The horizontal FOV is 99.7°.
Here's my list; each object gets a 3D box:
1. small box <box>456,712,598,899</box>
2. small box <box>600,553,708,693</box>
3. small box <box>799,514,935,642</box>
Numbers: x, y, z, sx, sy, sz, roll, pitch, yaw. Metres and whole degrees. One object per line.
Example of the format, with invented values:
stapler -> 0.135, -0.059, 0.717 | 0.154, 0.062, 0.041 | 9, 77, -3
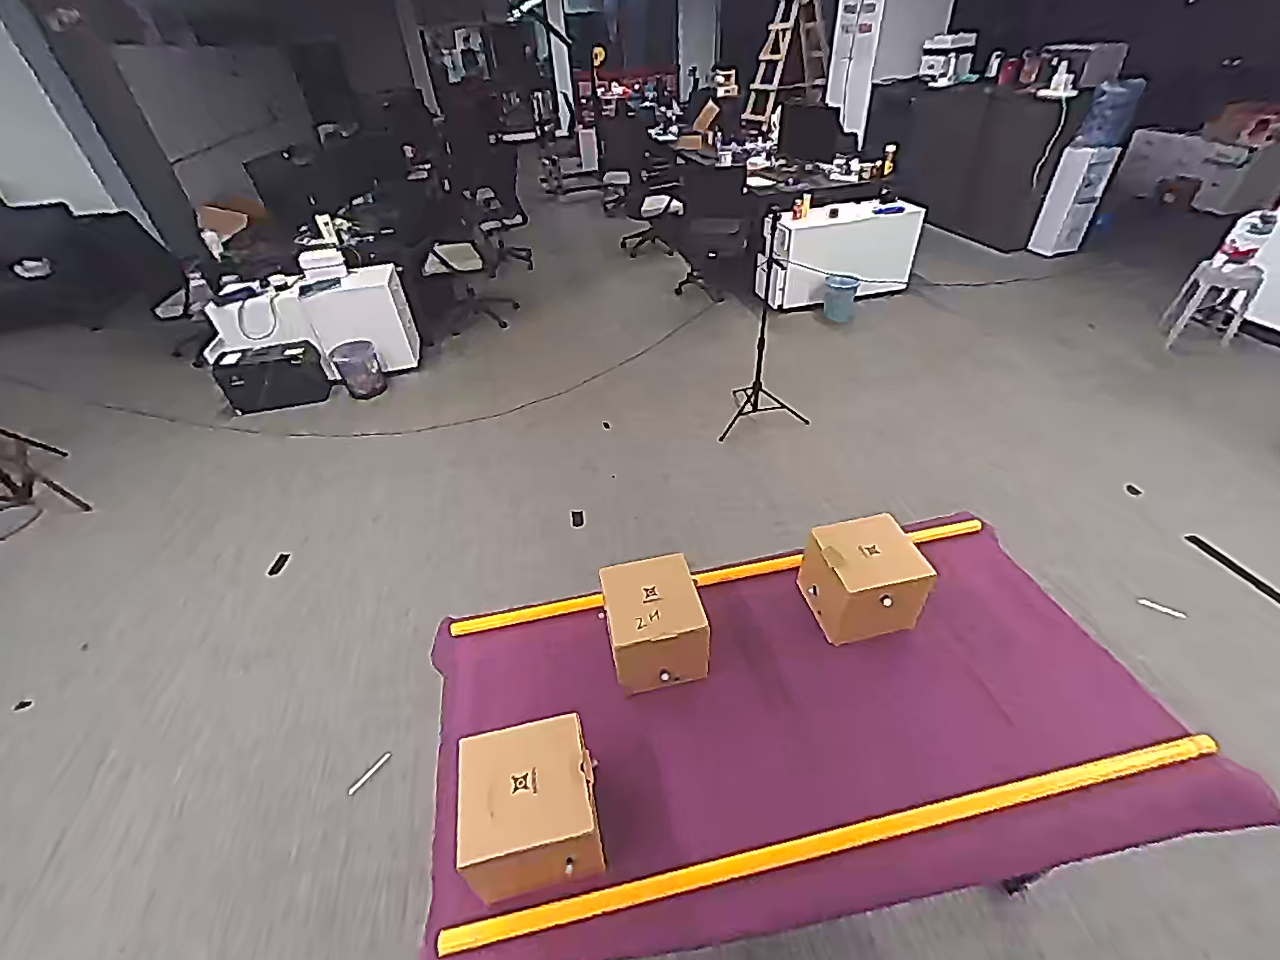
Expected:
small box -> -0.157, 0.472, 0.787 | 0.179, 0.176, 0.168 | -9, 39, -9
small box -> 0.023, 0.268, 1.020 | 0.168, 0.176, 0.179 | -10, 42, -7
small box -> 0.436, 0.195, 1.073 | 0.179, 0.176, 0.168 | -11, 41, -6
